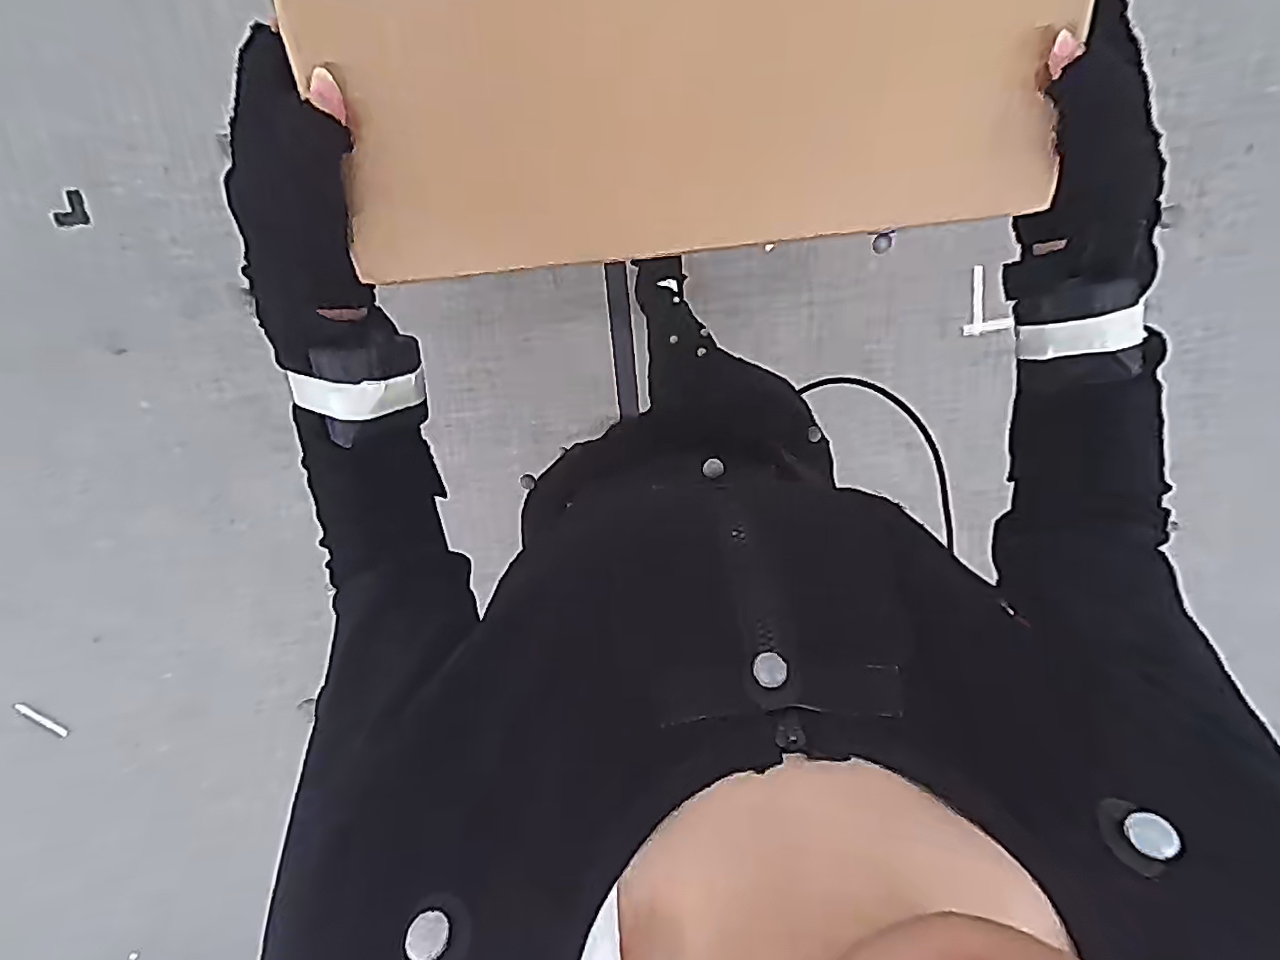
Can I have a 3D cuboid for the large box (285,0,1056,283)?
[{"bbox_3d":[0.011,-0.343,0.395,0.408,0.320,0.320,-7,114,-1],"label":"large box"}]
